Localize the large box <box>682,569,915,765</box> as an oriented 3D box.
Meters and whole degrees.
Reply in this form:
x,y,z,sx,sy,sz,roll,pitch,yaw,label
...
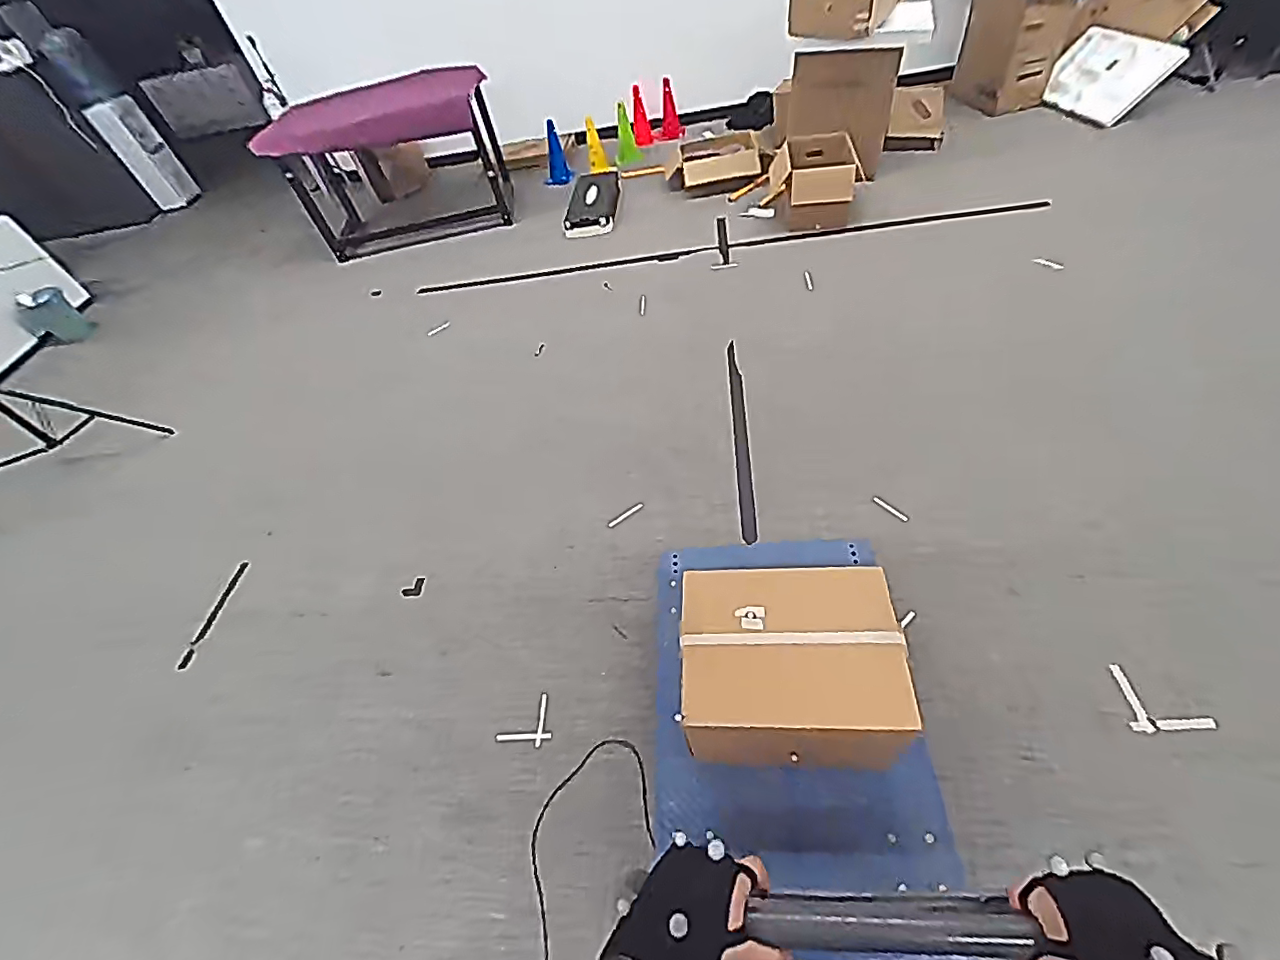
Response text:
x,y,z,sx,sy,sz,roll,pitch,yaw,label
0.307,0.408,1.153,0.408,0.320,0.320,-4,49,10,large box
